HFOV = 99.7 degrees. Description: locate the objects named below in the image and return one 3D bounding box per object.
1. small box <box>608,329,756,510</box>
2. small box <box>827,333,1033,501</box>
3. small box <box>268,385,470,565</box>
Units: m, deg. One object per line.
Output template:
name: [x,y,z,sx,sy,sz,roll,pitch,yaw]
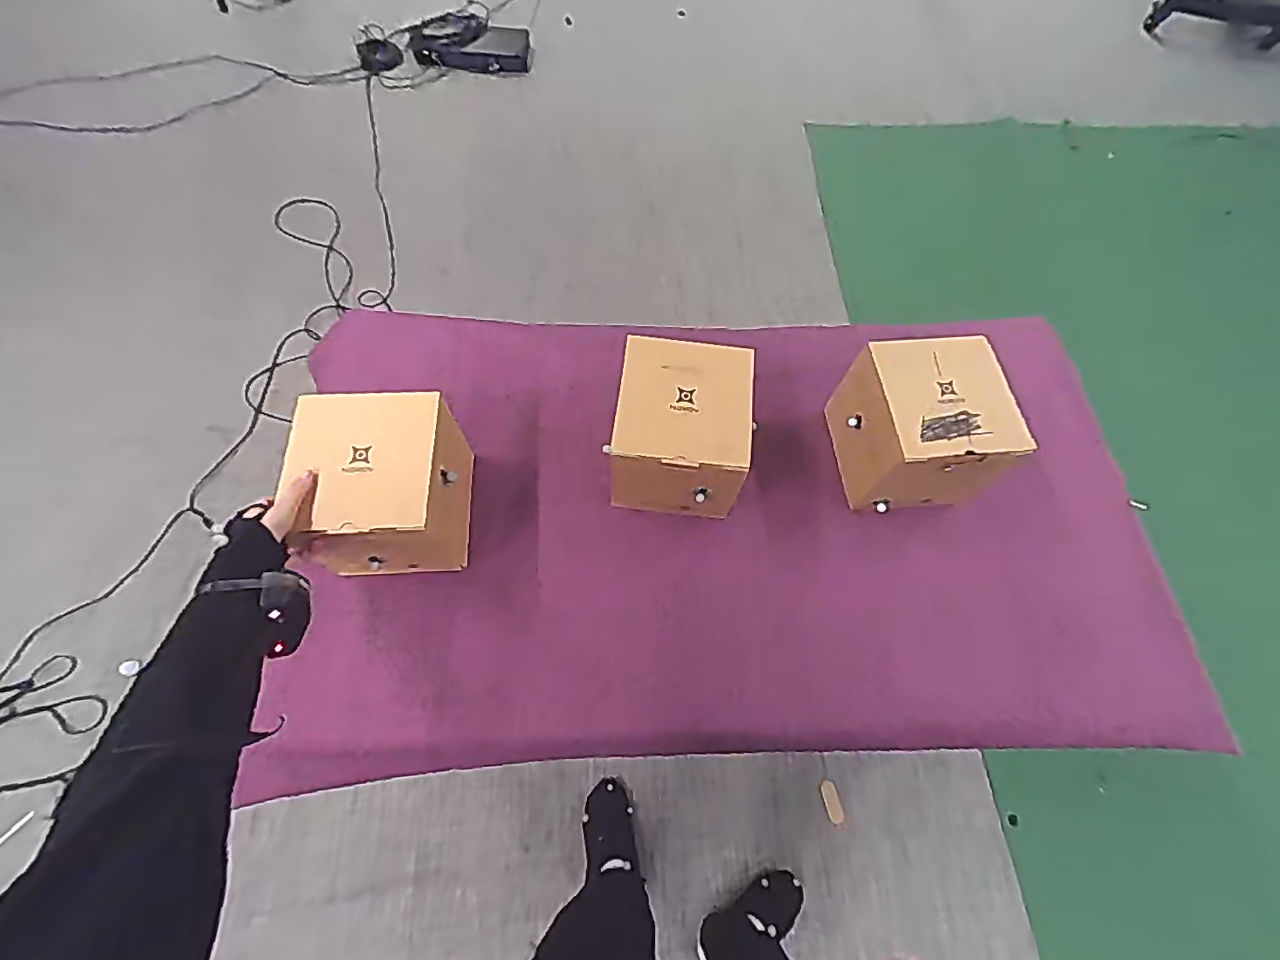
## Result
small box: [0.052,-0.072,0.727,0.168,0.176,0.179,8,66,0]
small box: [0.377,-0.077,0.742,0.168,0.176,0.179,-3,65,-4]
small box: [-0.318,-0.001,0.679,0.168,0.176,0.179,-2,67,-3]
